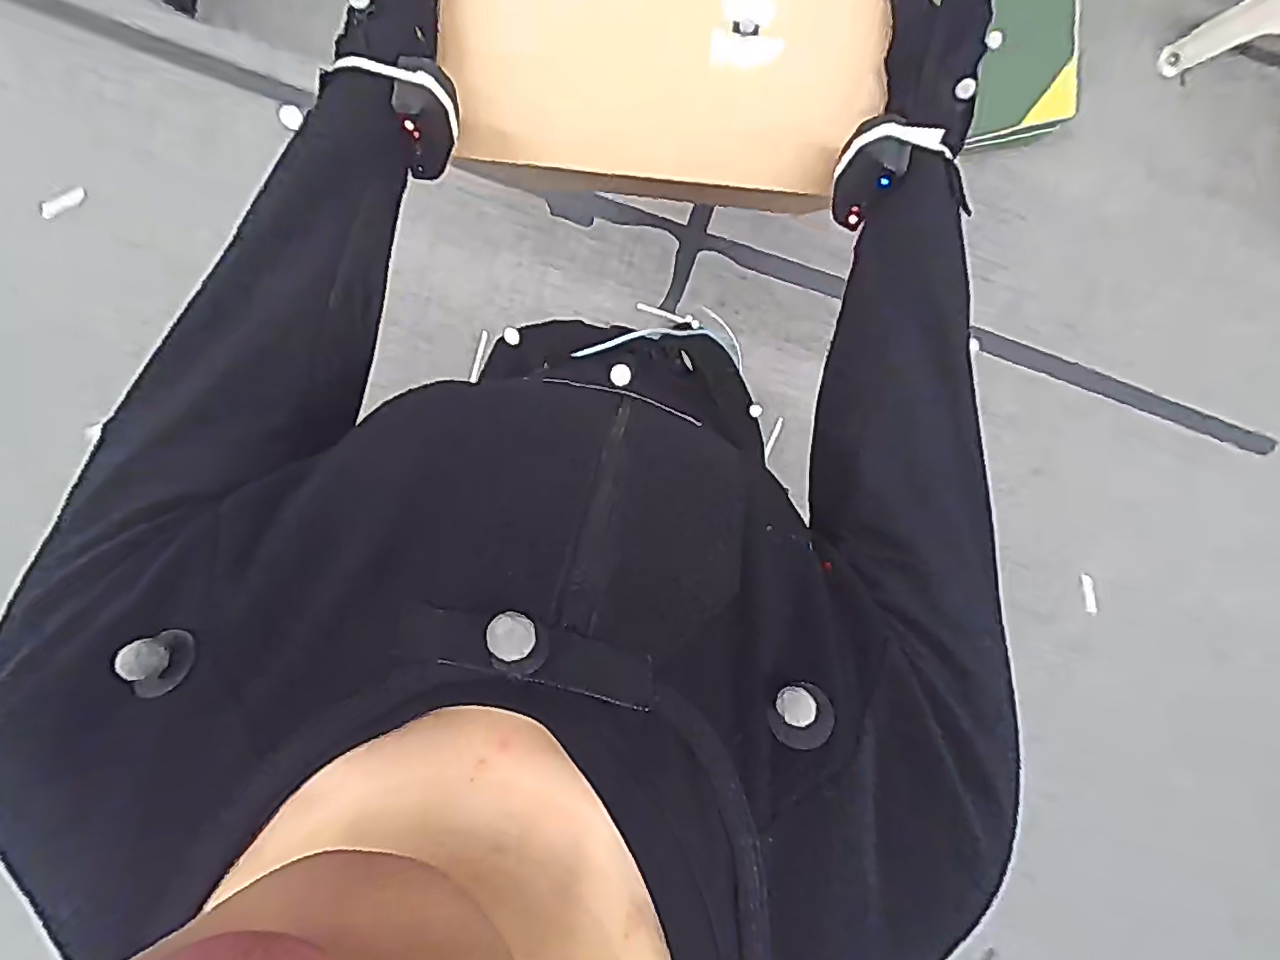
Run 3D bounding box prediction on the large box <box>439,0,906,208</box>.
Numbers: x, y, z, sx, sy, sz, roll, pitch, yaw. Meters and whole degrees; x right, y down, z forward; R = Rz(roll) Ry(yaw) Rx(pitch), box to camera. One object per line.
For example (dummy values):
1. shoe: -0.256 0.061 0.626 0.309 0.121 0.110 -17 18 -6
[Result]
1. large box: 0.033 -0.484 0.585 0.408 0.320 0.320 6 116 1
